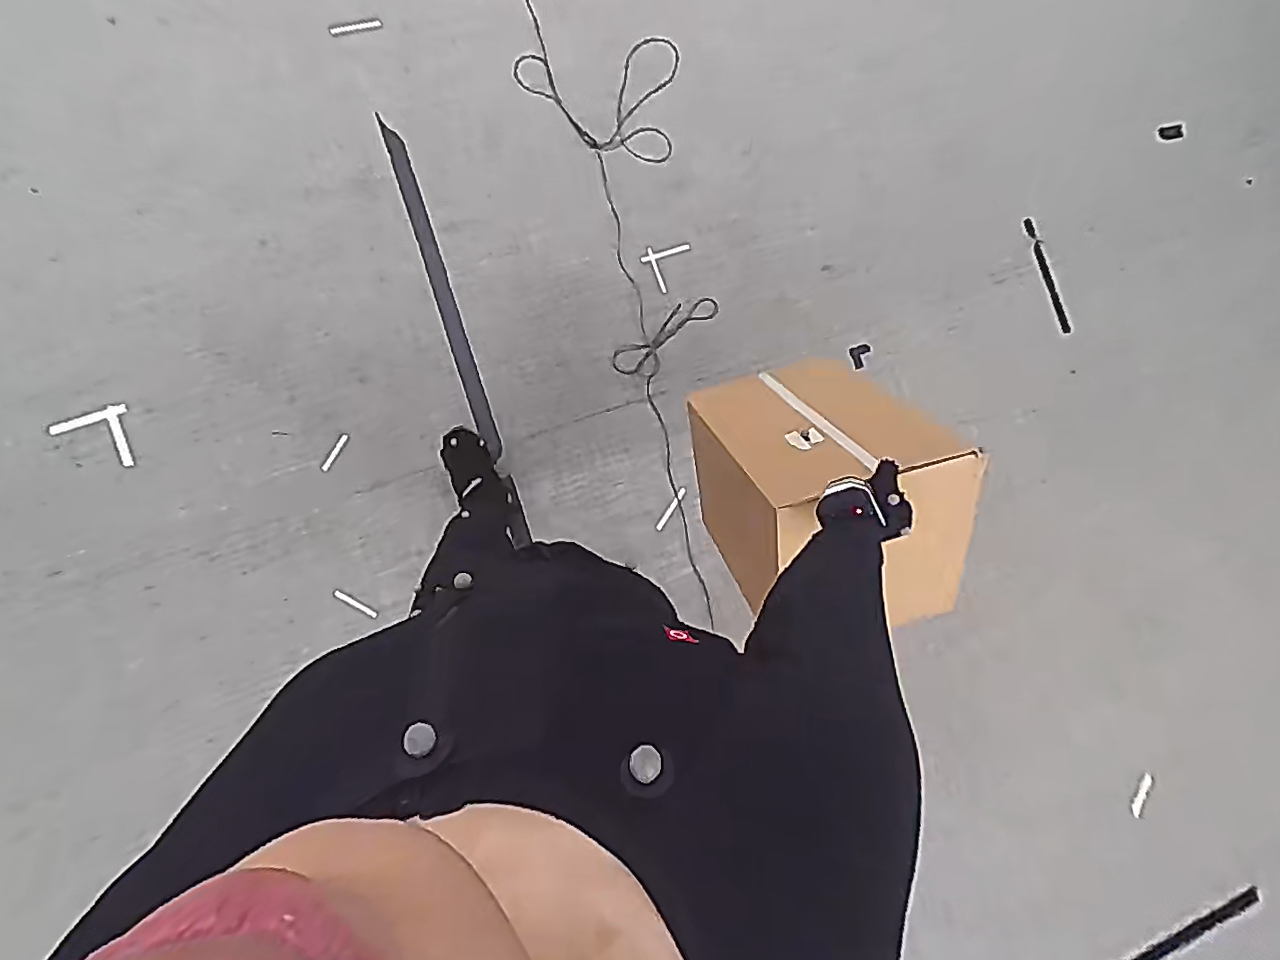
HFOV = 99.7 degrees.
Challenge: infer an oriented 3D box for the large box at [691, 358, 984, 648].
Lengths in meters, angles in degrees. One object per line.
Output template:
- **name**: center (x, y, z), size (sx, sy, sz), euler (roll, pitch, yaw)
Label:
- **large box**: center (0.312, 0.019, 0.985), size (0.320, 0.408, 0.320), euler (-16, 125, -6)
